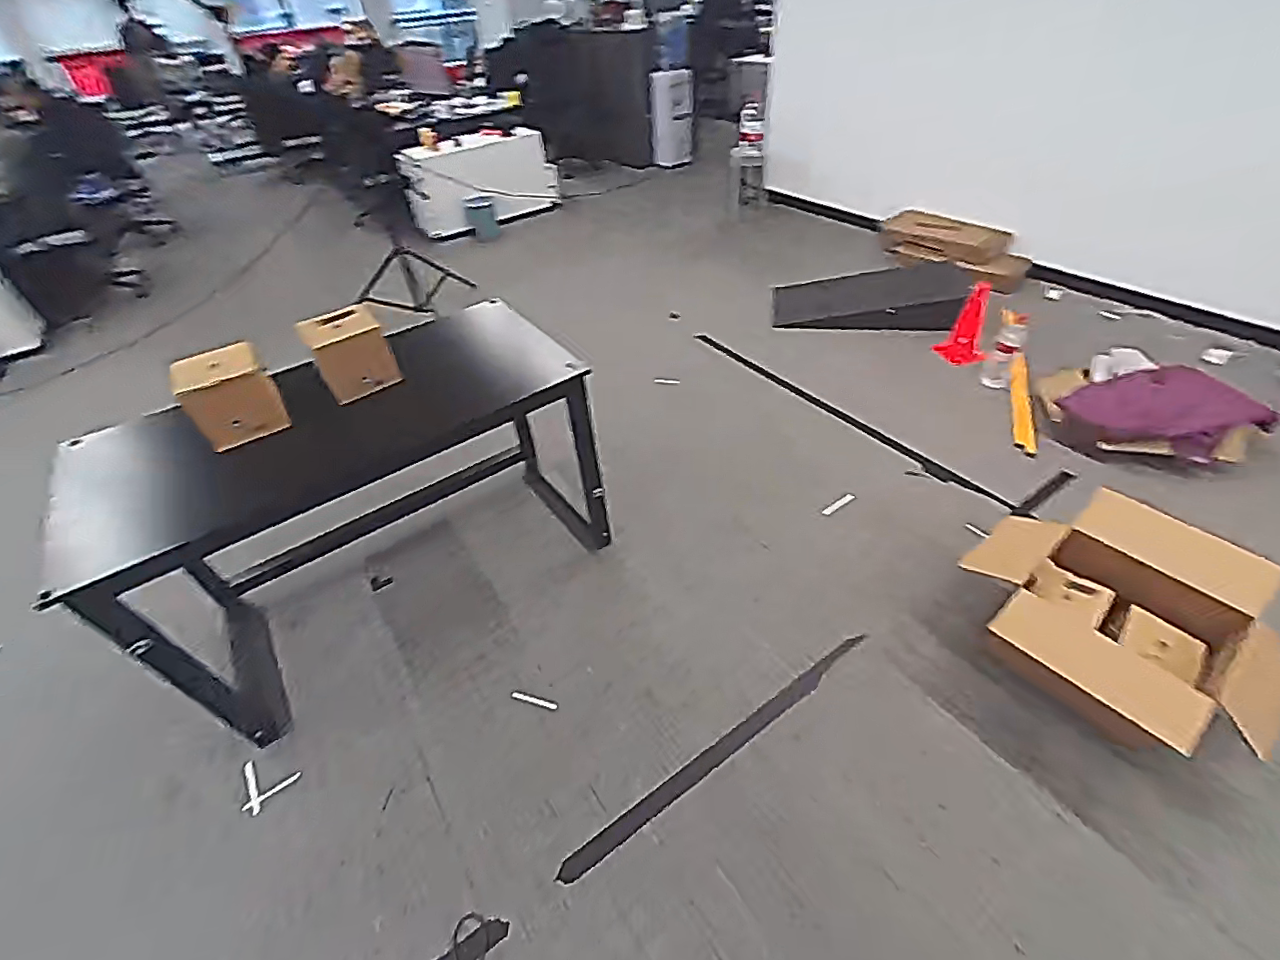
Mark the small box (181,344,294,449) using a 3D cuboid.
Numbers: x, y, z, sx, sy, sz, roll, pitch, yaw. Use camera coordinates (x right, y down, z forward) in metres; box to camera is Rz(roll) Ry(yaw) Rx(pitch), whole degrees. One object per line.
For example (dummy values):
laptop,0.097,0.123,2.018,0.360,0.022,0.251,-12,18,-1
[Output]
small box,-0.992,-0.207,1.338,0.168,0.176,0.179,-27,48,-22
